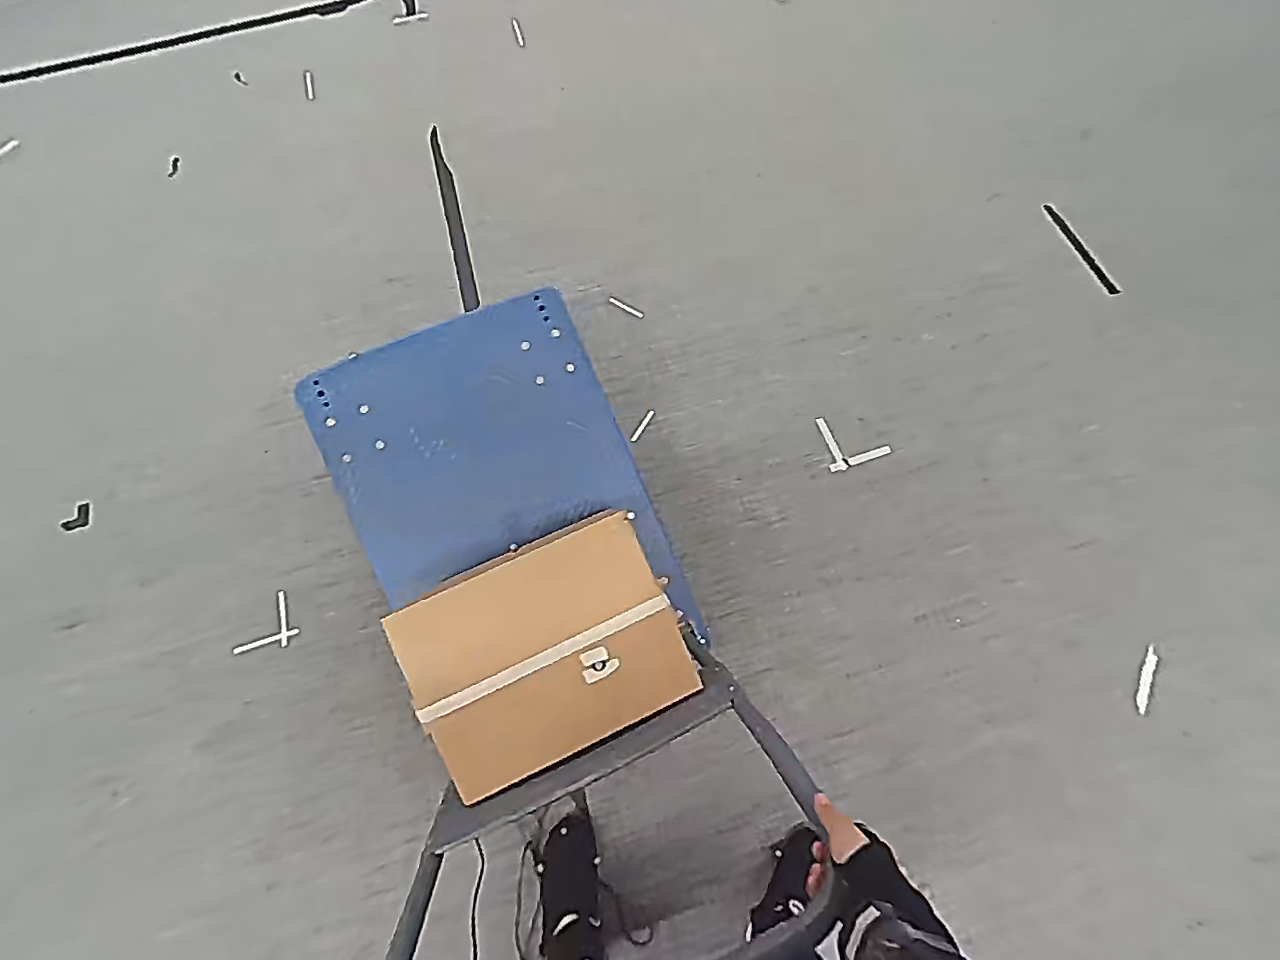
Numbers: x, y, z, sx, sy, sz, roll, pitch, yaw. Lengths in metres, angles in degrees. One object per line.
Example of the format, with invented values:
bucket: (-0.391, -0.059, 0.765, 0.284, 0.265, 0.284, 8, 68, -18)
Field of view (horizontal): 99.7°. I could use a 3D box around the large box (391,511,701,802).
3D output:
large box: (-0.160, 0.280, 0.993, 0.408, 0.320, 0.320, -25, 92, -8)
